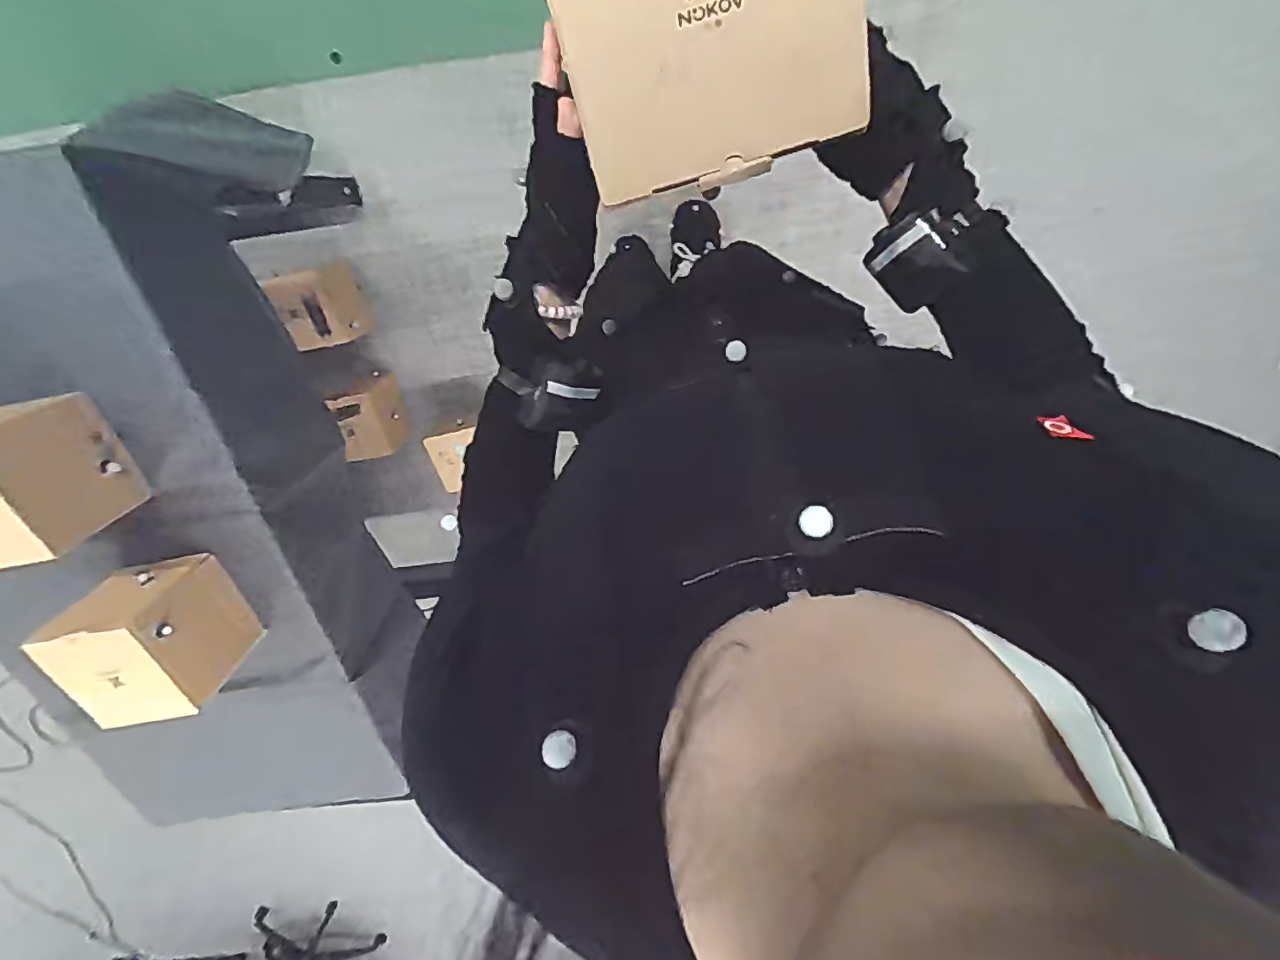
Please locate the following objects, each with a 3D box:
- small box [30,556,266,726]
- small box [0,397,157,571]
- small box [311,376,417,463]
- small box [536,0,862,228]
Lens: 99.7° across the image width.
[{"bbox_3d":[-0.734,0.244,0.836,0.168,0.176,0.179,-11,117,6],"label":"small box"},{"bbox_3d":[-0.811,0.005,0.707,0.179,0.176,0.168,-9,118,5],"label":"small box"},{"bbox_3d":[-0.723,-0.167,1.437,0.168,0.176,0.179,-8,119,5],"label":"small box"},{"bbox_3d":[0.028,-0.289,0.356,0.168,0.176,0.179,-16,119,5],"label":"small box"}]
